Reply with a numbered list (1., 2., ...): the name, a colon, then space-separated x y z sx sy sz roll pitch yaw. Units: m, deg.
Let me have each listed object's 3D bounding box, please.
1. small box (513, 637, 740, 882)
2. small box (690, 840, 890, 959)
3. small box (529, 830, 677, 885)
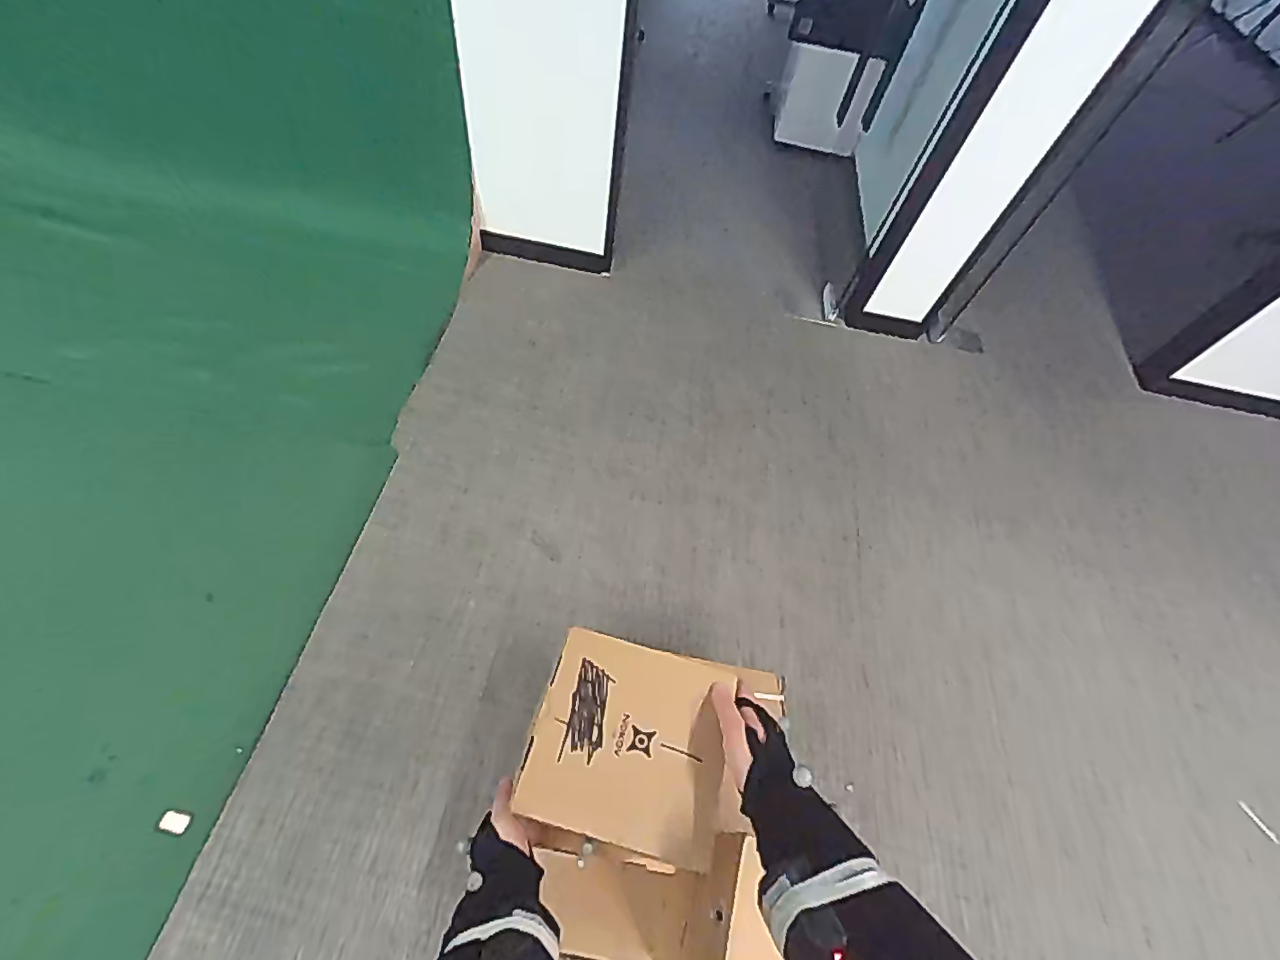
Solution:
1. small box: -0.014 0.286 0.554 0.179 0.176 0.168 16 56 2
2. small box: 0.160 0.534 0.612 0.168 0.176 0.179 18 56 3
3. small box: -0.037 0.385 0.683 0.168 0.176 0.179 12 56 -1
